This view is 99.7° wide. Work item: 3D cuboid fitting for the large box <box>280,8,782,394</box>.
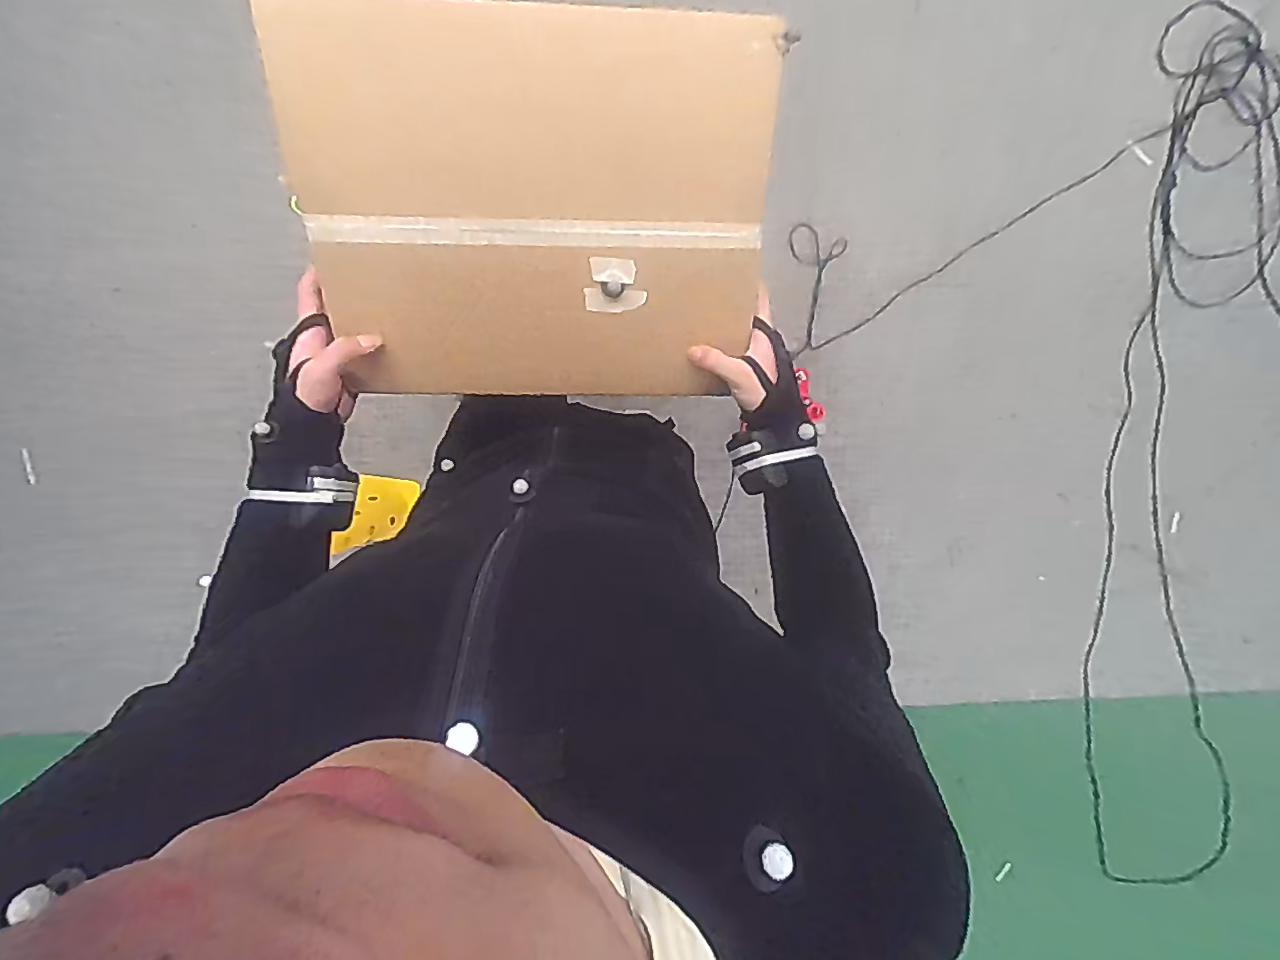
[{"bbox_3d":[-0.095,-0.300,0.627,0.408,0.320,0.320,-1,120,-4],"label":"large box"}]
